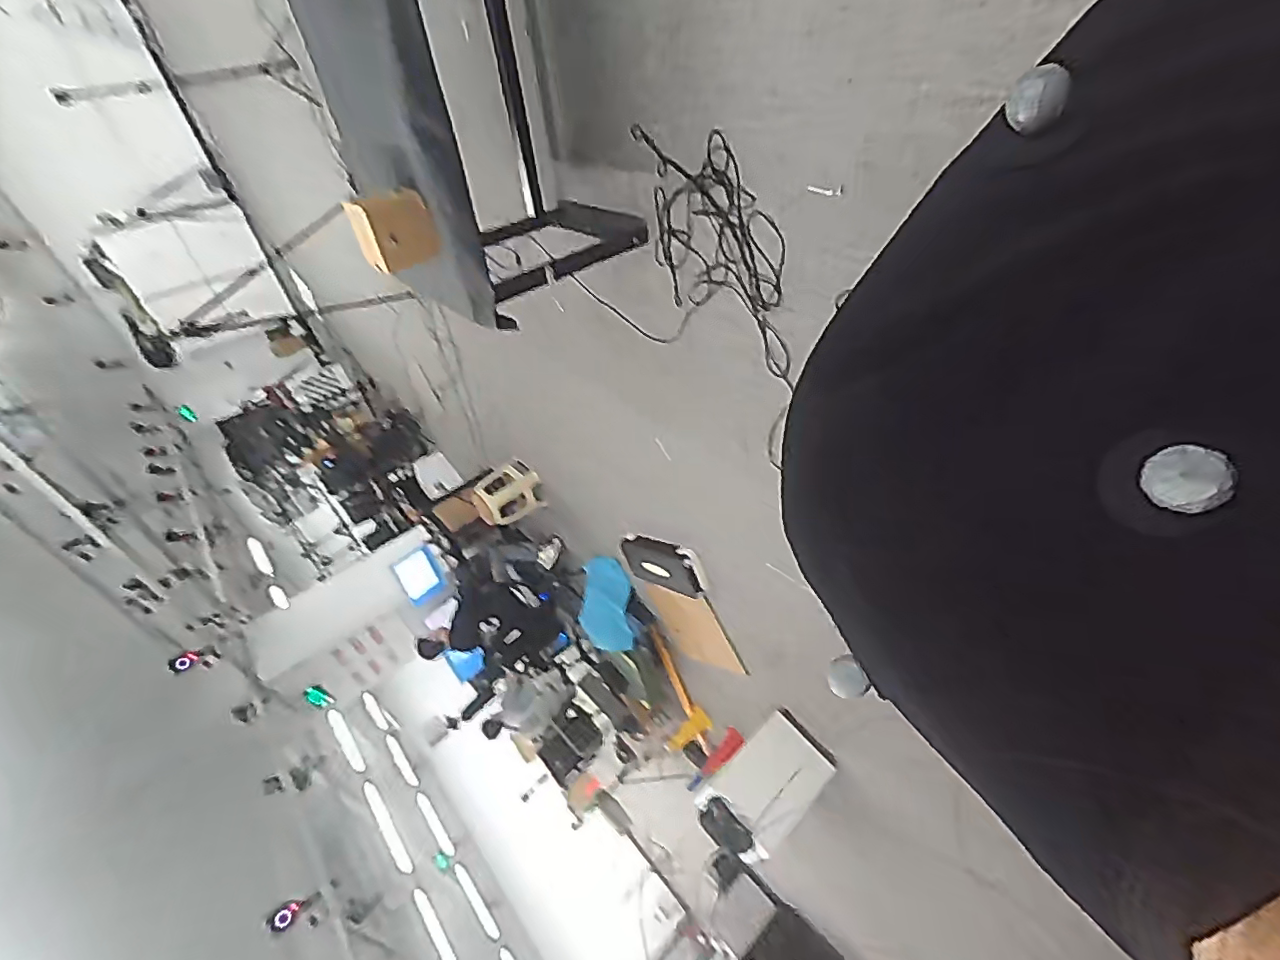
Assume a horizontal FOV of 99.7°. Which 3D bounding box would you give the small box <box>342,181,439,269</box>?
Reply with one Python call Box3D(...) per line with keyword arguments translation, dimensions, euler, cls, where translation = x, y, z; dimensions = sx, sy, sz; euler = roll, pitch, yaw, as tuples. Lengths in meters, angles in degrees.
Box3D(translation=(-0.691, -0.717, 1.514), dimensions=(0.168, 0.176, 0.179), euler=(32, 143, 37), cls="small box")
